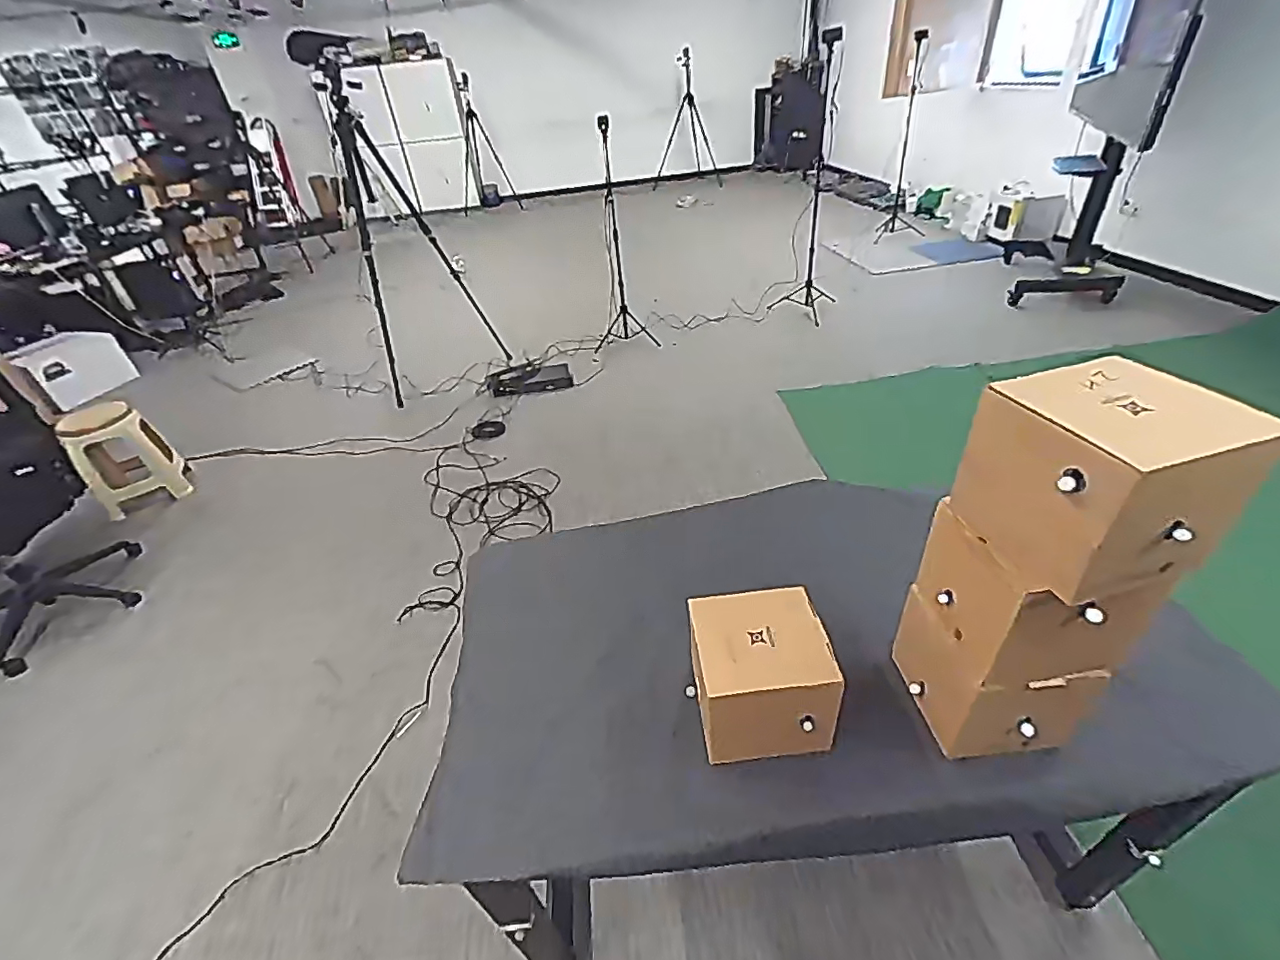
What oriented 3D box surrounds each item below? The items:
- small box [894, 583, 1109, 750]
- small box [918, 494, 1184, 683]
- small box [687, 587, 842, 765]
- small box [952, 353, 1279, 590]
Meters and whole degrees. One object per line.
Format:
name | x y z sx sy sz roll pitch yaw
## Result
small box | 0.482 0.254 0.756 0.168 0.176 0.179 -8 36 0
small box | 0.474 0.122 0.661 0.179 0.176 0.168 -9 36 -1
small box | 0.168 0.281 0.778 0.179 0.176 0.168 -8 35 0
small box | 0.465 -0.007 0.558 0.168 0.176 0.179 -13 36 -8
